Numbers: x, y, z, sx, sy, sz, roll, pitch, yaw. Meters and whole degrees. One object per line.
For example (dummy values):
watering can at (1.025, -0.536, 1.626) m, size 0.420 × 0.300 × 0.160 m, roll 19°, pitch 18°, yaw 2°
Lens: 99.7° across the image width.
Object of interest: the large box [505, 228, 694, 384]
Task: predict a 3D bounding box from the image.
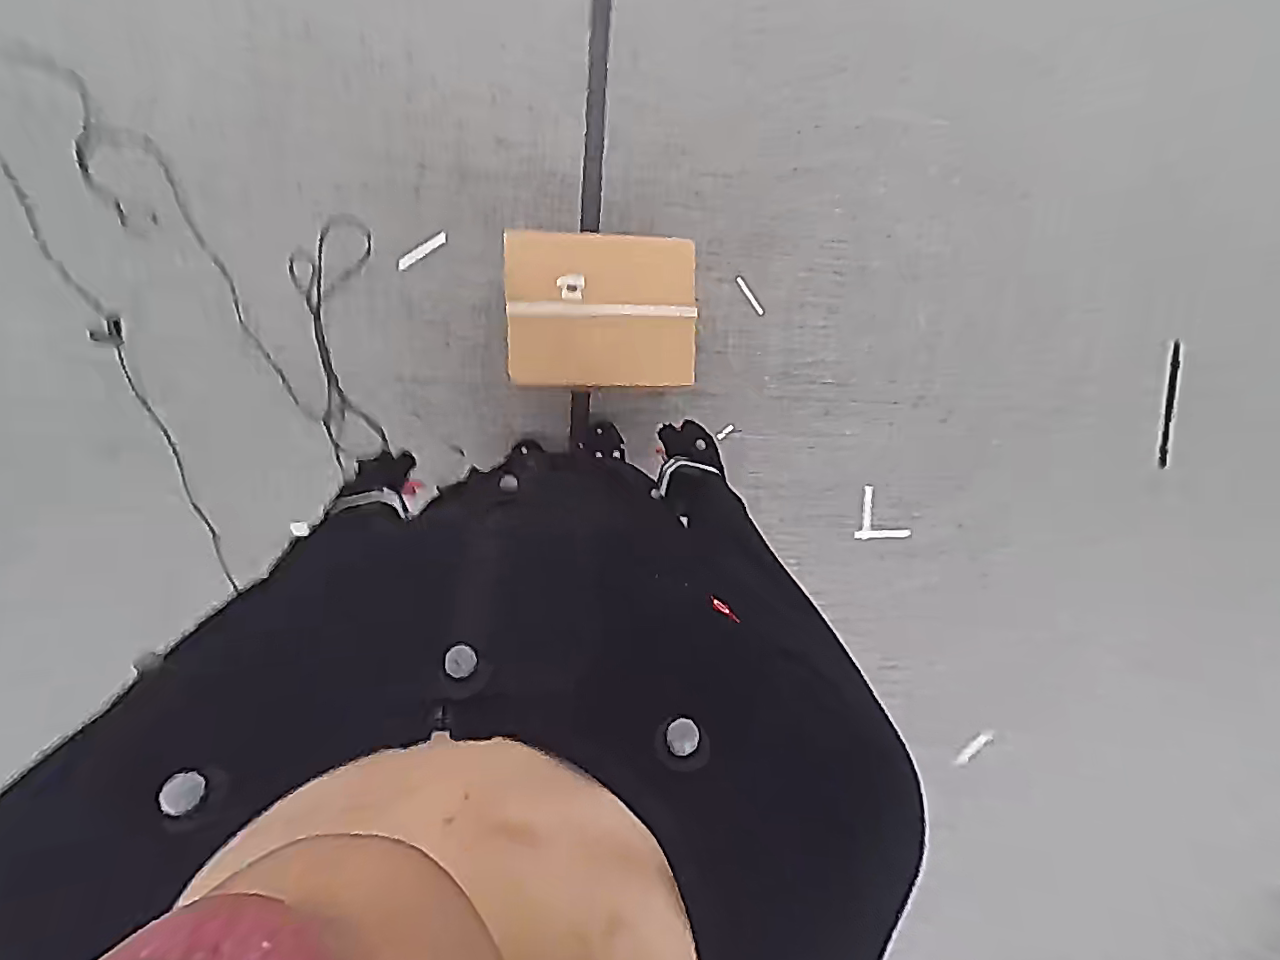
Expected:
large box at (-0.097, -0.392, 1.298) m, size 0.408 × 0.320 × 0.320 m, roll -1°, pitch 97°, yaw -7°
